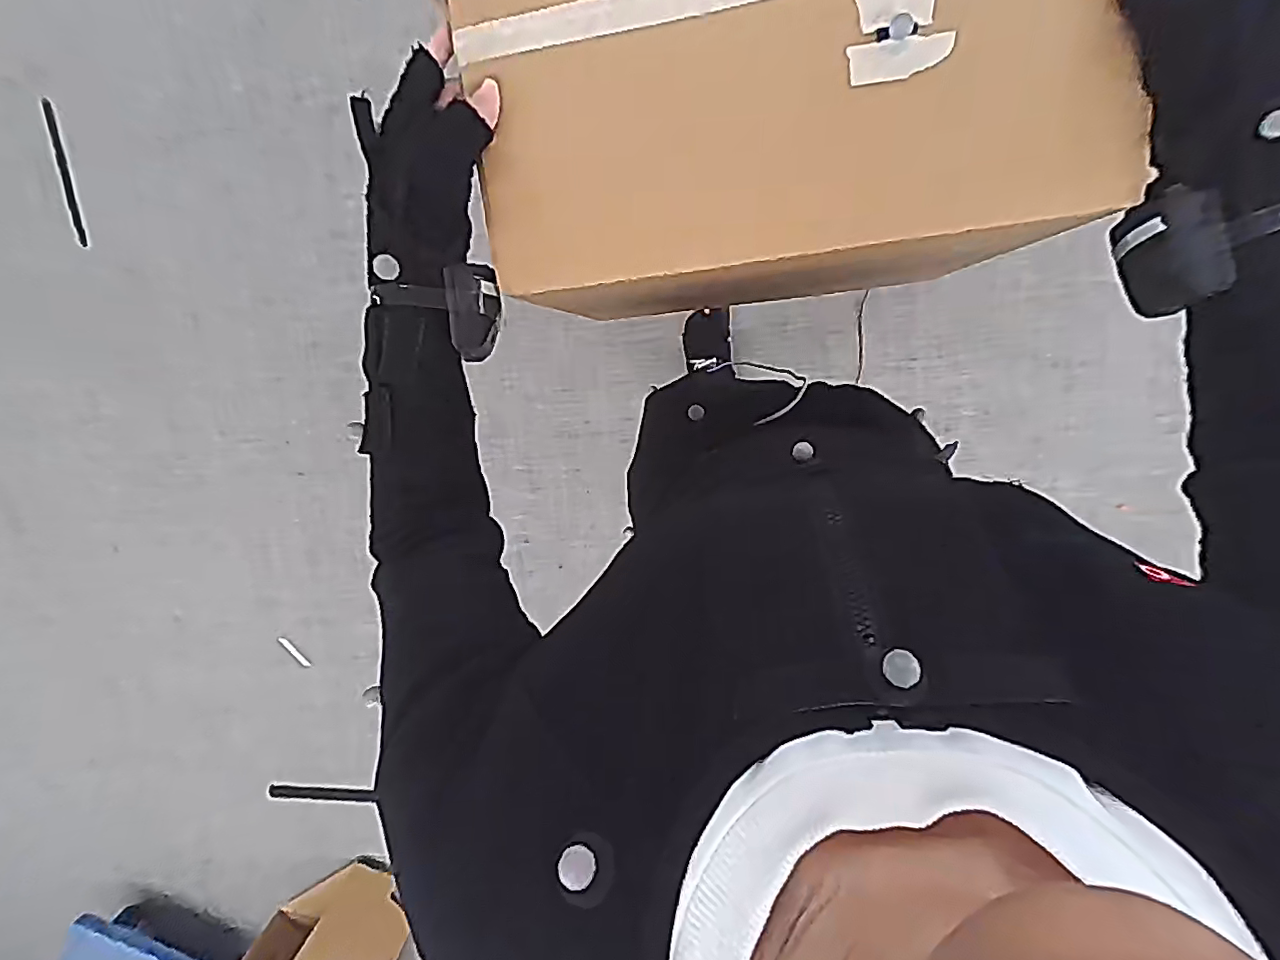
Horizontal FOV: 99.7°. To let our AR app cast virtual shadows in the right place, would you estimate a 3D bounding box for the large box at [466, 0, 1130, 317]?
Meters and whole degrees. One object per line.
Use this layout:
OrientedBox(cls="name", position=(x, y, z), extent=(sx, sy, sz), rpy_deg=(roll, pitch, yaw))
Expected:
OrientedBox(cls="large box", position=(0.101, -0.341, 0.478), extent=(0.408, 0.320, 0.320), rpy_deg=(-5, 103, 9))
